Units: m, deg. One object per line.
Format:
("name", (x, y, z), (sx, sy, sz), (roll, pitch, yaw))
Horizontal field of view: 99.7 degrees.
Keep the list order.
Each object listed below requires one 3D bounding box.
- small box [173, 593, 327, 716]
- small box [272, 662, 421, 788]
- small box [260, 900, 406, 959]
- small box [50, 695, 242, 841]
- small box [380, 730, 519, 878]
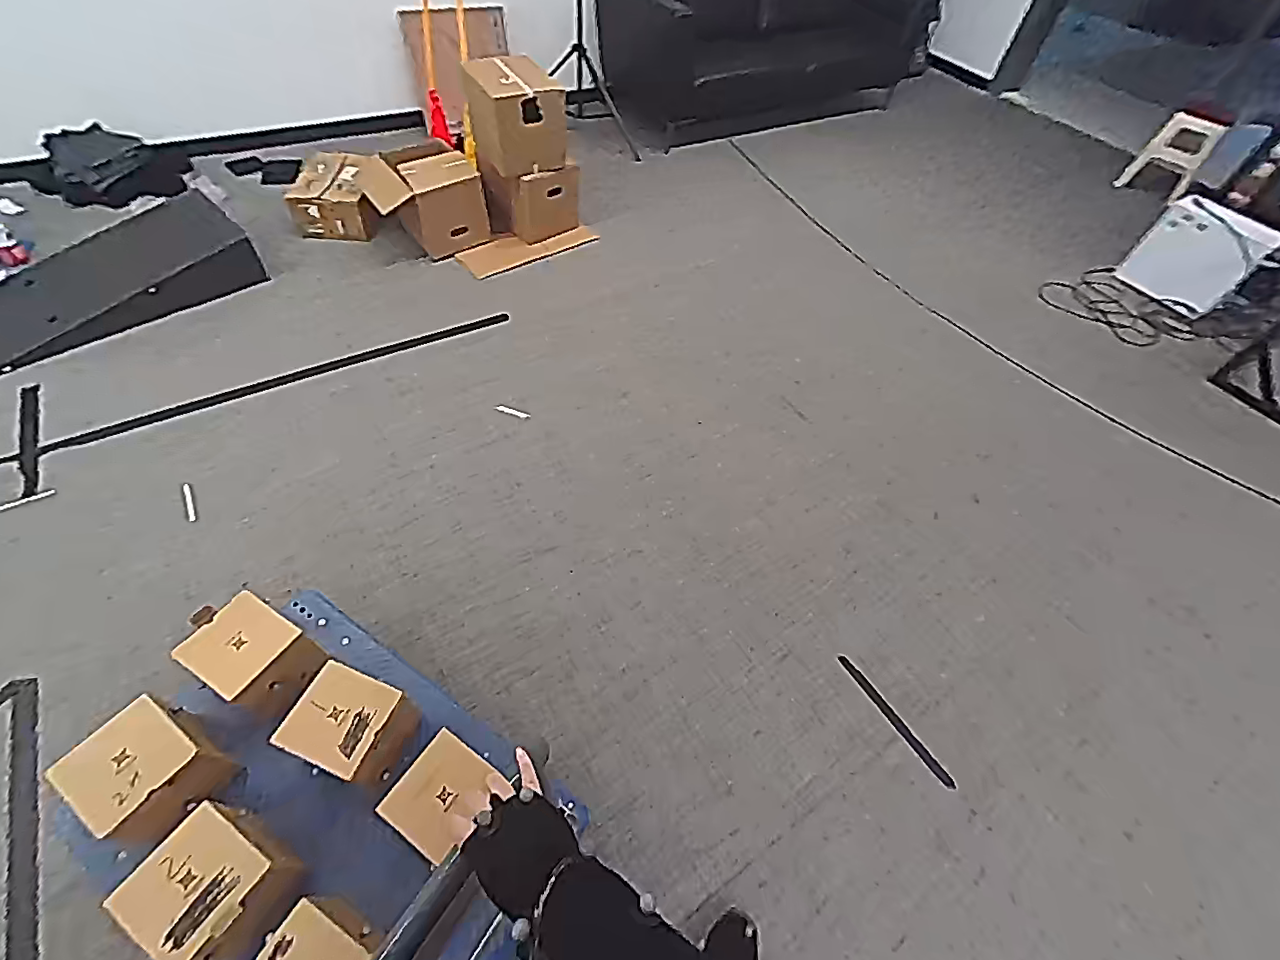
("small box", (-0.808, 0.375, 1.143), (0.179, 0.176, 0.168), (28, 55, 13))
("small box", (-0.571, 0.496, 1.083), (0.179, 0.176, 0.168), (20, 53, 8))
("small box", (-0.505, 0.805, 0.860), (0.179, 0.176, 0.168), (28, 54, 12))
("small box", (-0.902, 0.540, 1.005), (0.179, 0.176, 0.168), (32, 56, 15))
("small box", (-0.349, 0.614, 1.026), (0.179, 0.176, 0.168), (30, 55, 16))
